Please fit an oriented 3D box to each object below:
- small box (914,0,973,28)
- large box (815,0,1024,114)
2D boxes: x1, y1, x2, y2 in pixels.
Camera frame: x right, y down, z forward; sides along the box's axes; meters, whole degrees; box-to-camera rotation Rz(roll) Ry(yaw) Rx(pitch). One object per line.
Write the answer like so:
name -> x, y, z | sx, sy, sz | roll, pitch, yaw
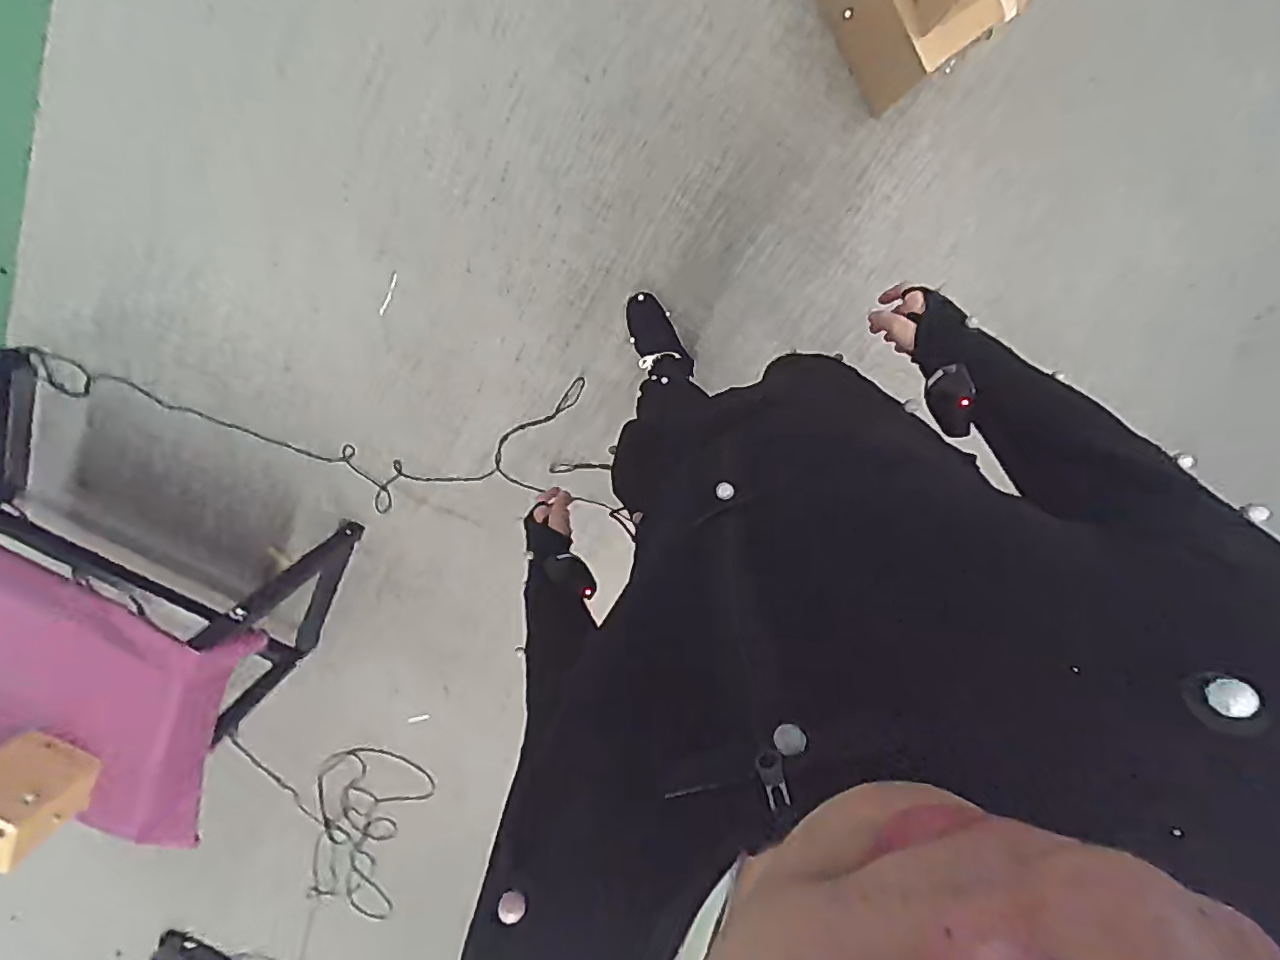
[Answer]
small box -> 0.541, -0.890, 0.870 | 0.179, 0.176, 0.168 | -29, 106, 15
large box -> 0.558, -1.052, 1.071 | 0.320, 0.320, 0.408 | -33, 104, 14
